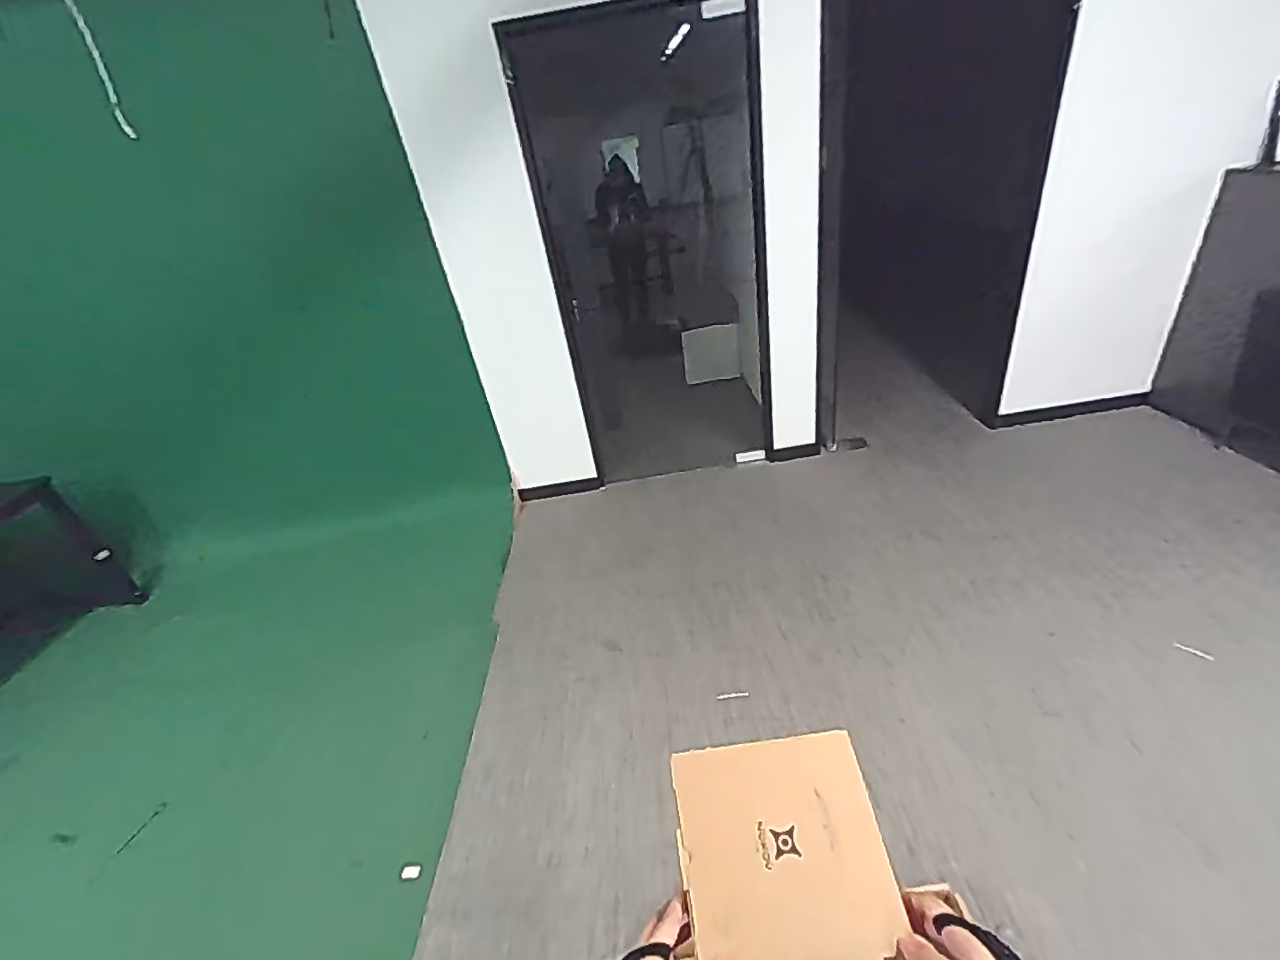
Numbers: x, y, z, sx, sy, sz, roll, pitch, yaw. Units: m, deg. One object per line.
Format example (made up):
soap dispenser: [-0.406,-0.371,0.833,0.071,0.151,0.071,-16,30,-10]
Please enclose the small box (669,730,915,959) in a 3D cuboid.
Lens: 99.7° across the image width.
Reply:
small box: [0.131,0.364,0.534,0.179,0.176,0.168,-9,54,0]
